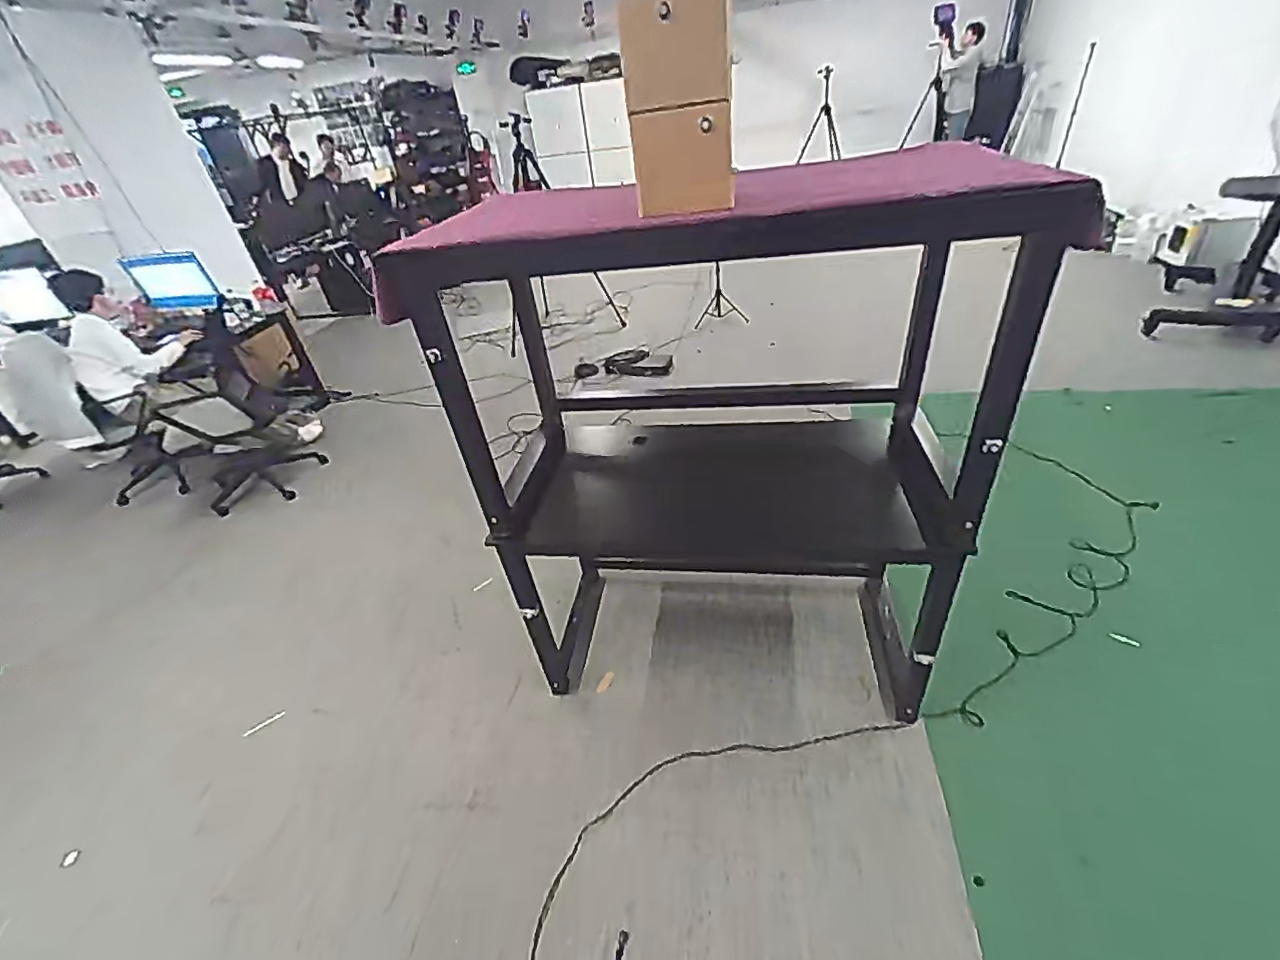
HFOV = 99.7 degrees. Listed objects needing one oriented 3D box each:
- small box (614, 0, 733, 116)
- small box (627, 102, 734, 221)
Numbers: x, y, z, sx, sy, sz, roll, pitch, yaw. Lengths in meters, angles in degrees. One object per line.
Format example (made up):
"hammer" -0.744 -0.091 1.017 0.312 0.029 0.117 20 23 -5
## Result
"small box" 0.065 -0.730 0.922 0.179 0.176 0.168 0 35 12
"small box" 0.085 -0.595 1.014 0.179 0.176 0.168 -1 35 11
